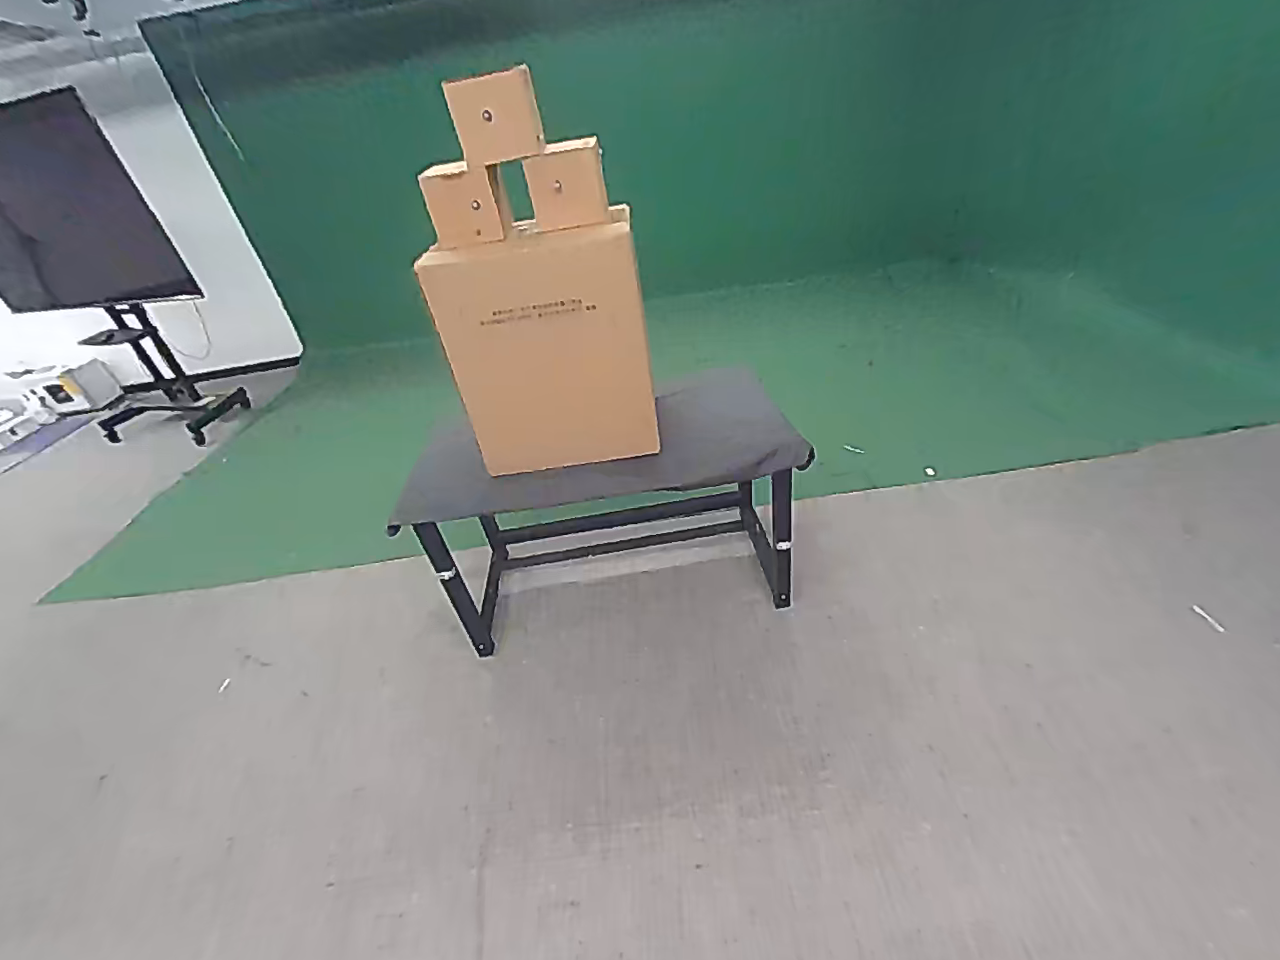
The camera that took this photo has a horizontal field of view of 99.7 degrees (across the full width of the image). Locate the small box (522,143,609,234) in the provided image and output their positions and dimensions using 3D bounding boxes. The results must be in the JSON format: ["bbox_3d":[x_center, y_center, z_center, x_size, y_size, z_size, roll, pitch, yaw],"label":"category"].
[{"bbox_3d":[-0.182,-0.737,1.370,0.179,0.176,0.168,-8,37,4],"label":"small box"}]

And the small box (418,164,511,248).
[{"bbox_3d":[-0.436,-0.701,1.380,0.168,0.176,0.179,-7,35,1],"label":"small box"}]

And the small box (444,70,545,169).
[{"bbox_3d":[-0.332,-0.849,1.277,0.179,0.176,0.168,-9,36,3],"label":"small box"}]
